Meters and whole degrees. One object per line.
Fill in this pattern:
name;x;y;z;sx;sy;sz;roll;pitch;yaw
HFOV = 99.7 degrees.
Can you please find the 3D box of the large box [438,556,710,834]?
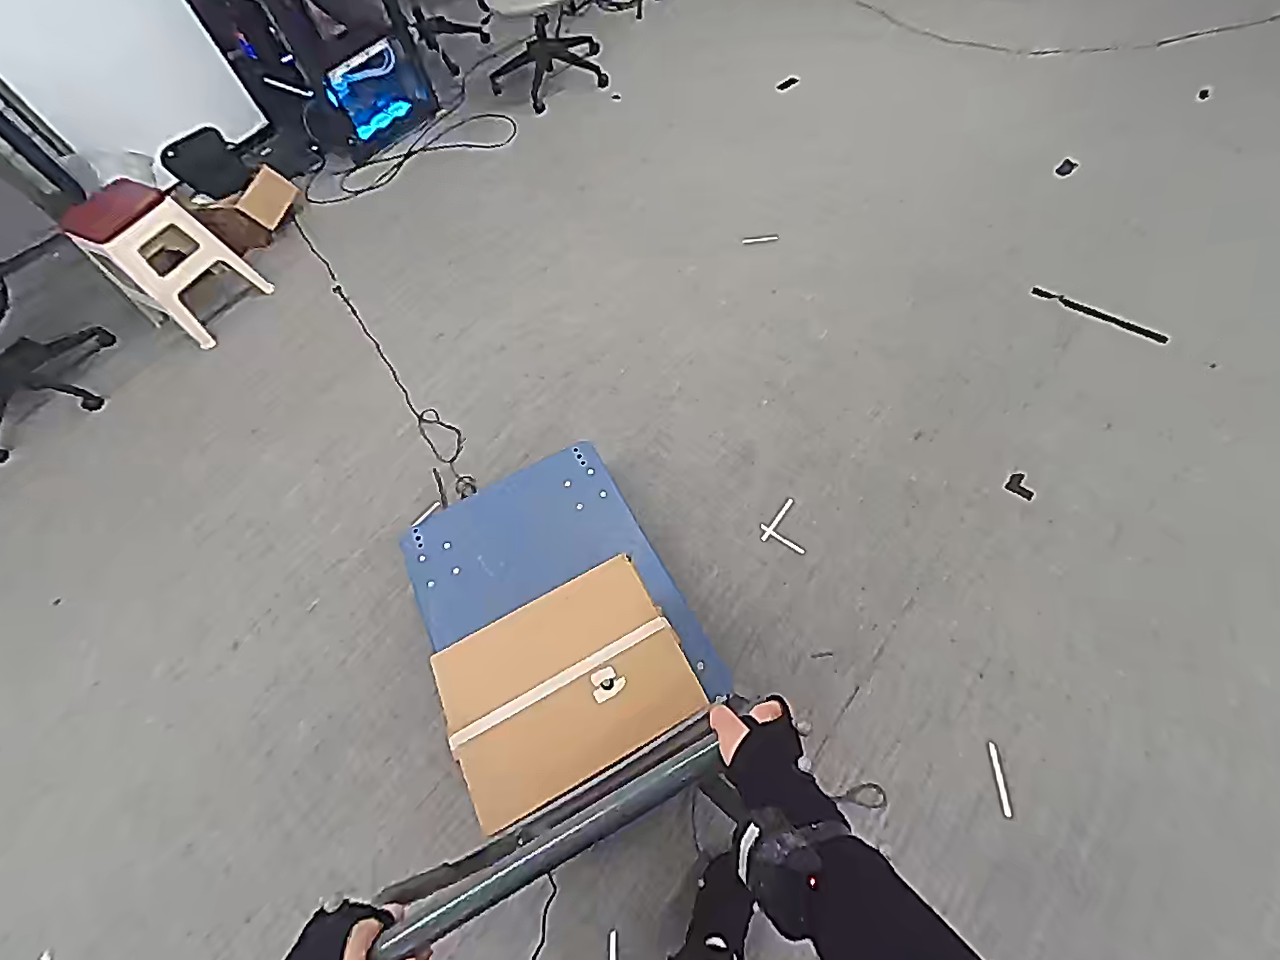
large box;-0.109;0.422;1.063;0.408;0.320;0.320;-28;61;-9
